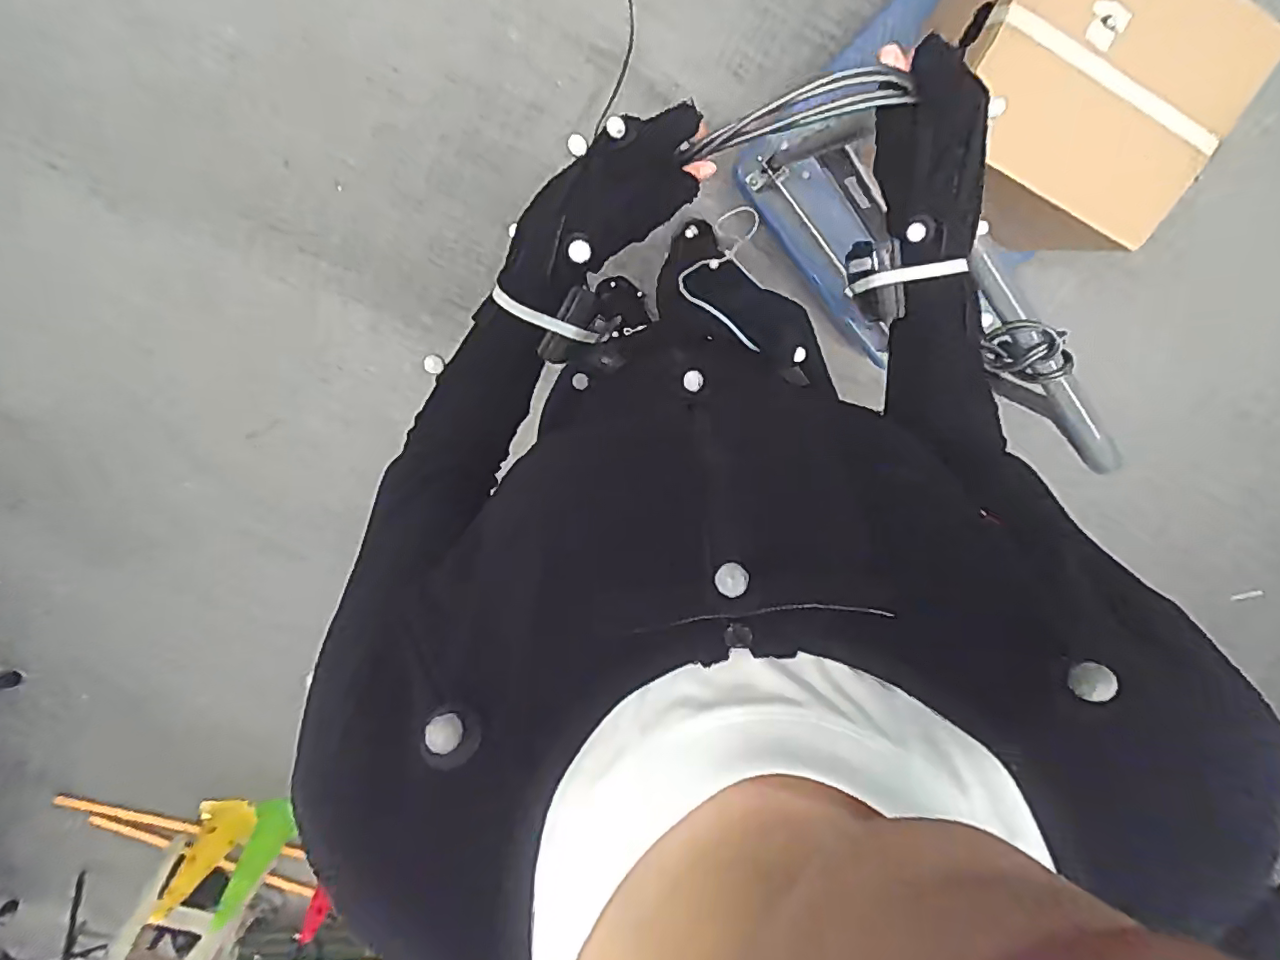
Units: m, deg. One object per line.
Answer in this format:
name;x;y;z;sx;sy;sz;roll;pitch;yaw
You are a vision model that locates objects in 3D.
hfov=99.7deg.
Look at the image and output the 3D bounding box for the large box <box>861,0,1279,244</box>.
large box;0.683;-0.643;0.933;0.408;0.320;0.320;22;111;-10
